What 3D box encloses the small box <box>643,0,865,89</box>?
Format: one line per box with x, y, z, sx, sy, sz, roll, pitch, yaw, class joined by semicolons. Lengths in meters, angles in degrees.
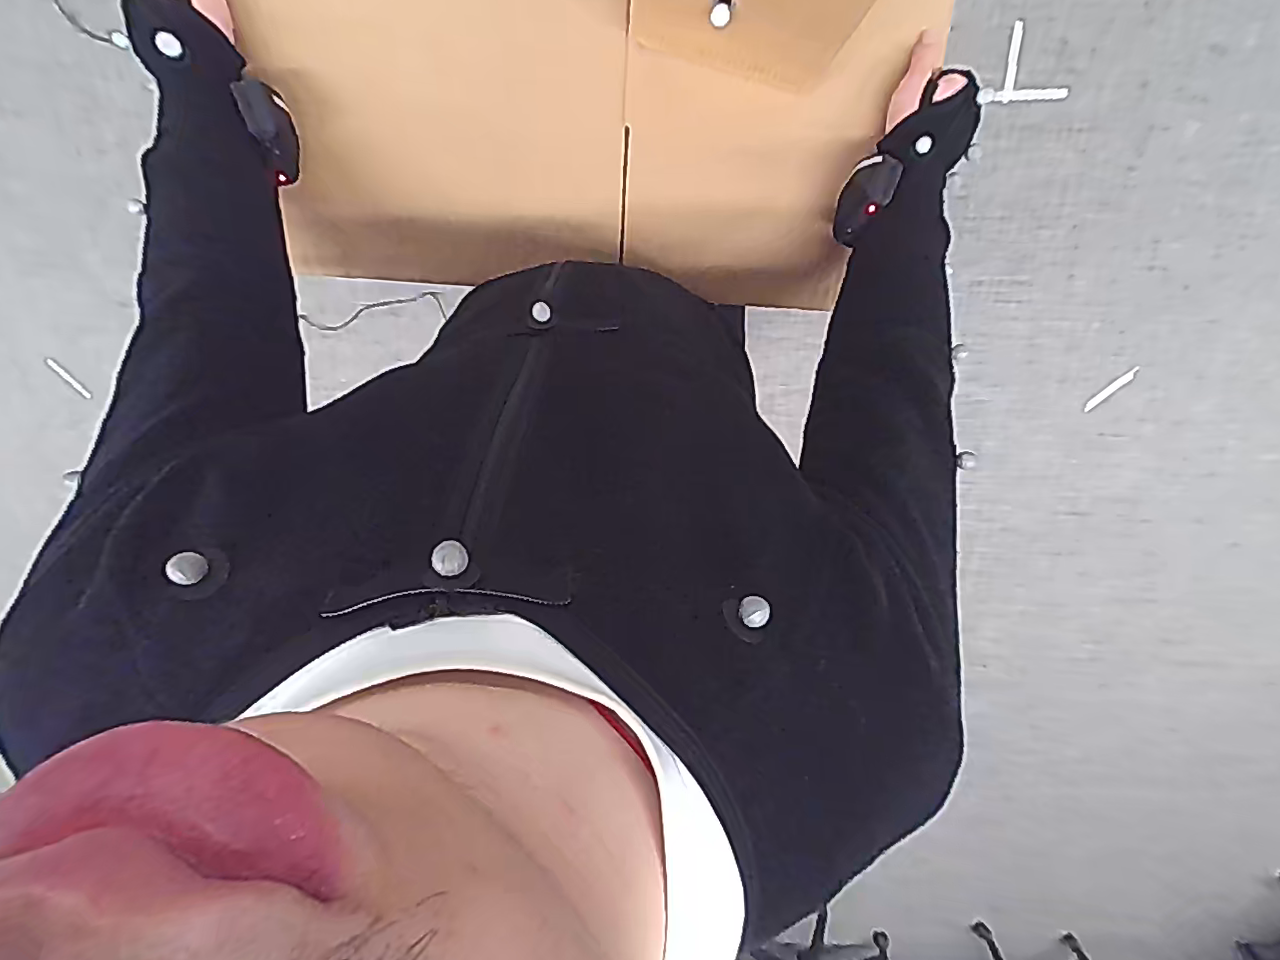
0.102;-0.448;0.423;0.179;0.176;0.168;14;105;-3;small box
